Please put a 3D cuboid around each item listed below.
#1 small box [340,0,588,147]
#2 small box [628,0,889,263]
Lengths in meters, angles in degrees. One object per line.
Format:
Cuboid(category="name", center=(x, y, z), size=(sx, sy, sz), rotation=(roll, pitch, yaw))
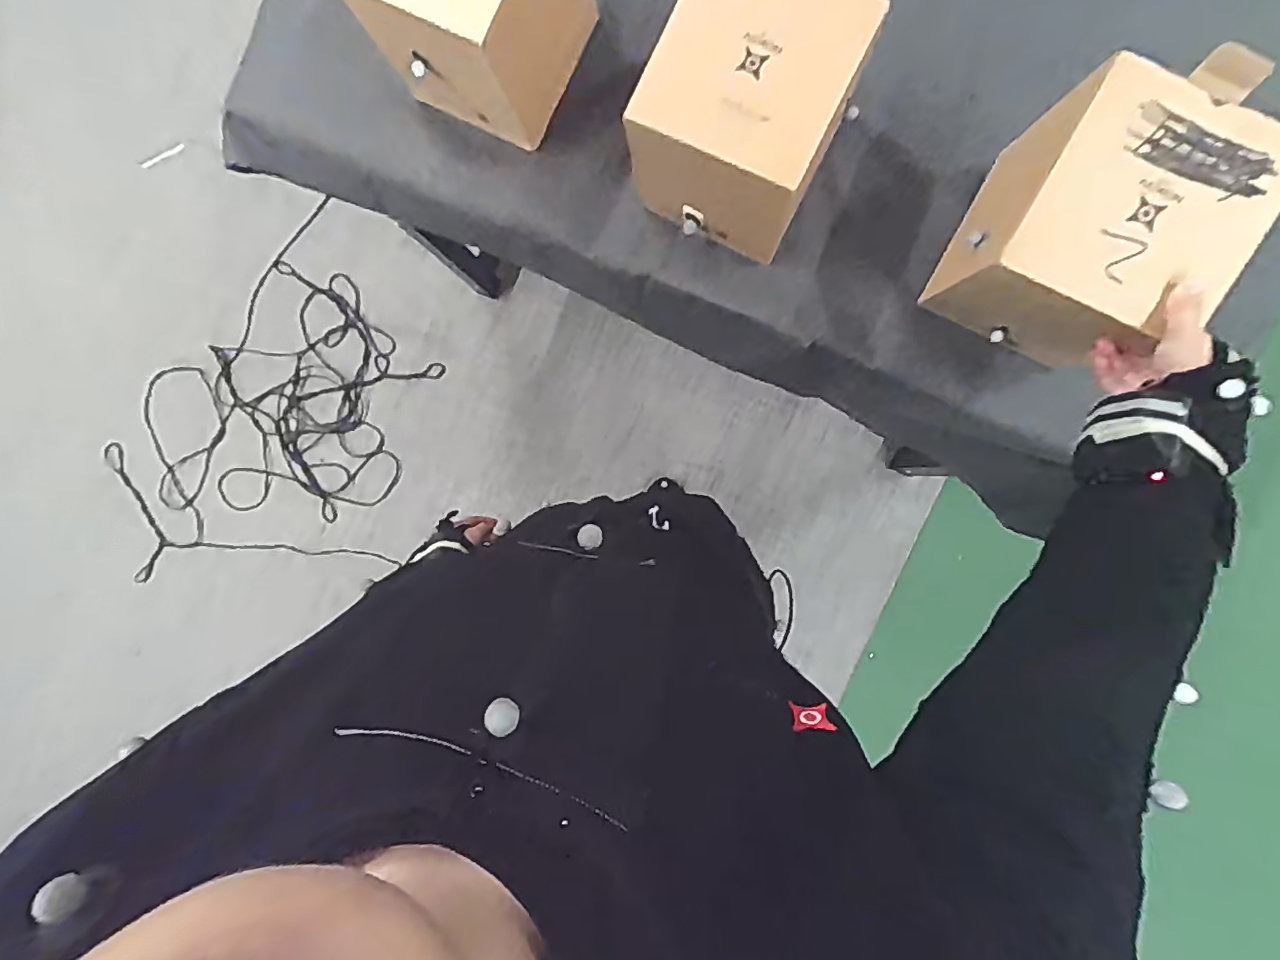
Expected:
Cuboid(category="small box", center=(-0.167, -0.490, 0.553), size=(0.168, 0.176, 0.179), rotation=(26, 91, 4))
Cuboid(category="small box", center=(0.104, -0.351, 0.532), size=(0.168, 0.176, 0.179), rotation=(26, 93, 5))
